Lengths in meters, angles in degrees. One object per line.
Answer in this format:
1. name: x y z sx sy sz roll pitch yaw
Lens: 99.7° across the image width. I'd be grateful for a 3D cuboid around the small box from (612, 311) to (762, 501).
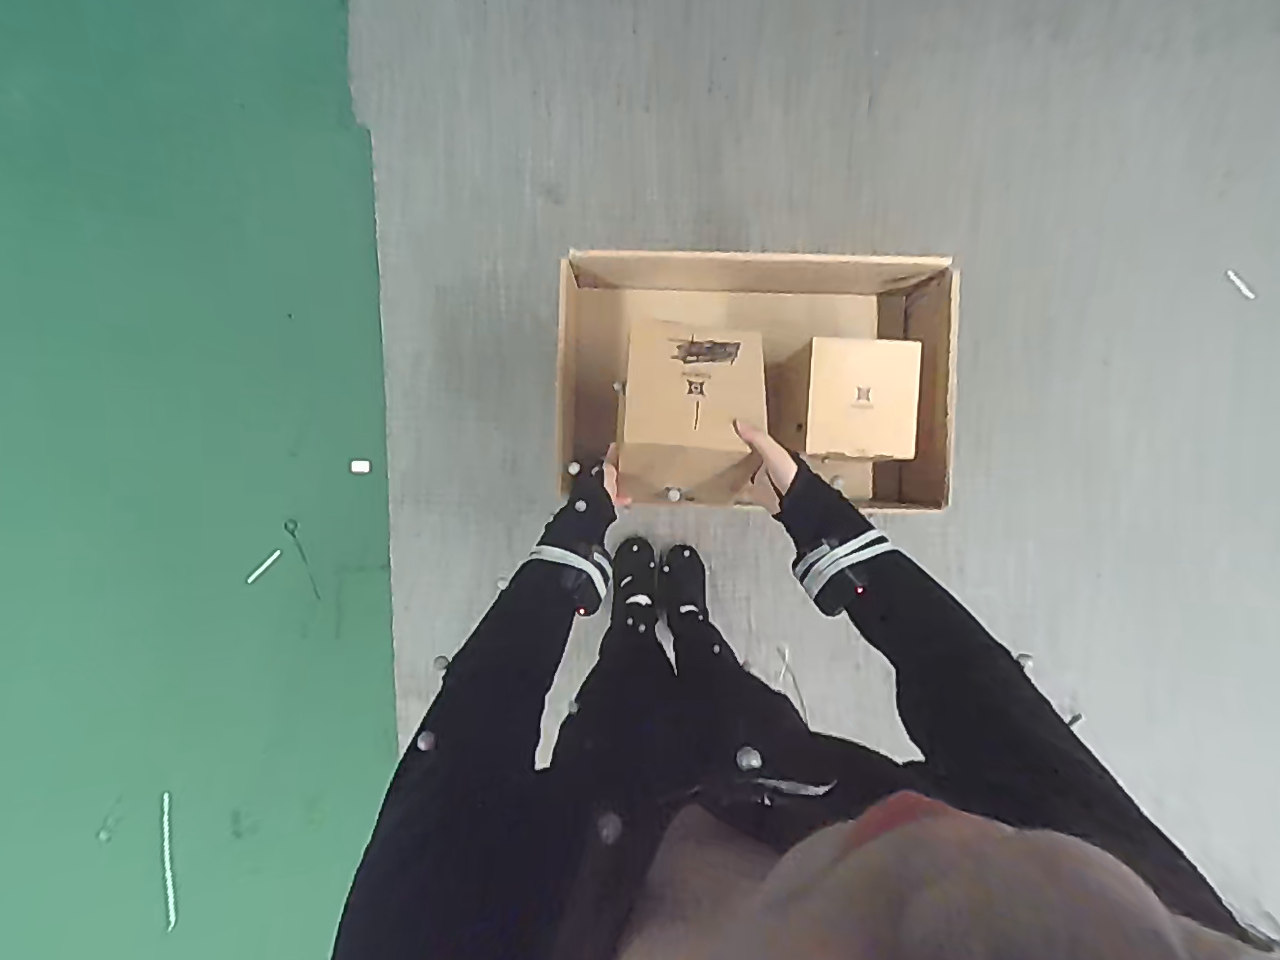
1. small box: 0.053 -0.090 0.708 0.168 0.176 0.179 5 65 -4
